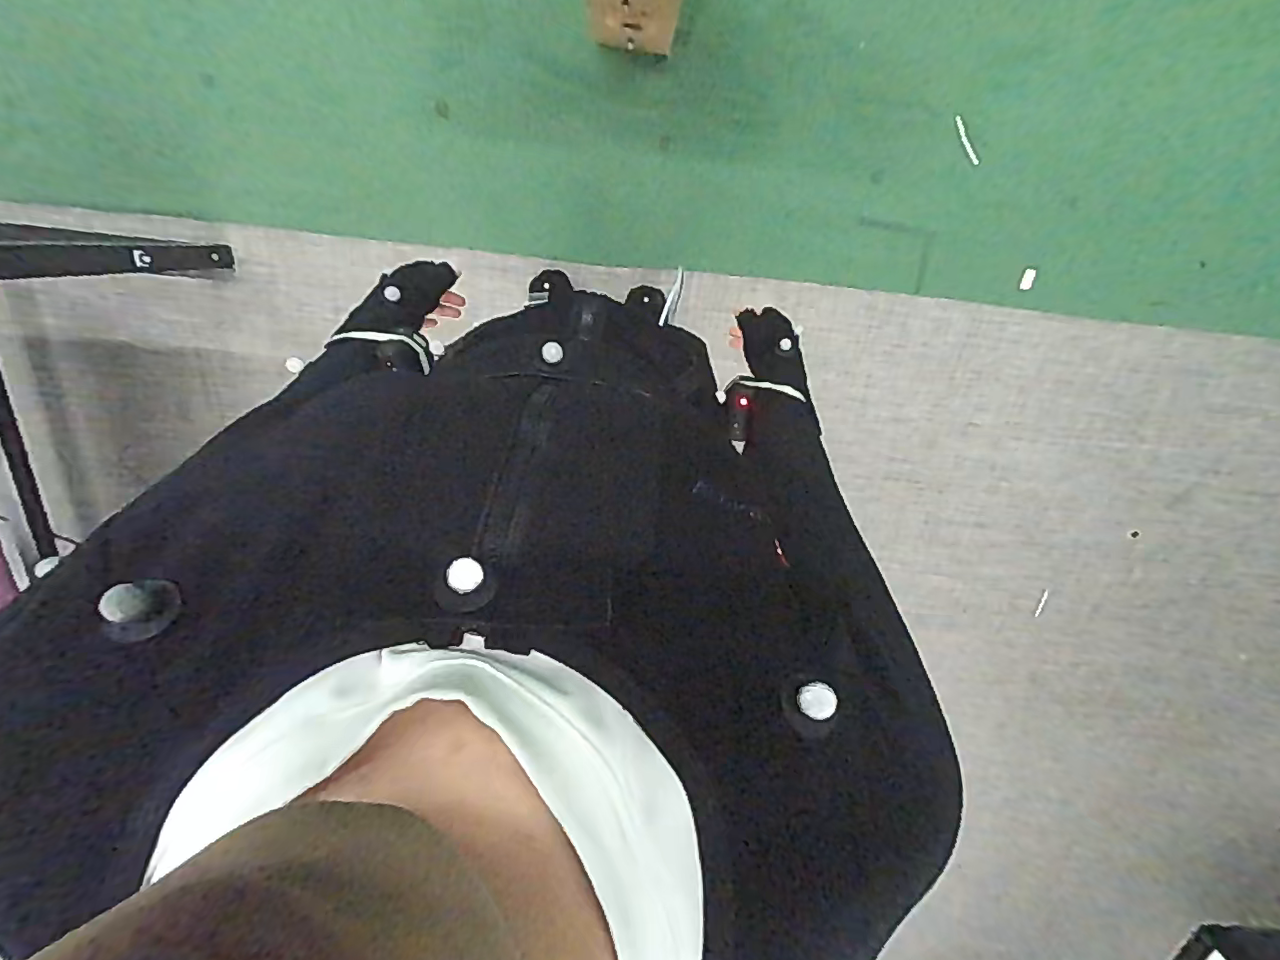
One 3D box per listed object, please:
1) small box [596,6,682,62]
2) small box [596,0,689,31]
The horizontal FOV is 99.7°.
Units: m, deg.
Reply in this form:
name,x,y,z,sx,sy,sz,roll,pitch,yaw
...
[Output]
name,x,y,z,sx,sy,sz,roll,pitch,yaw
small box,0.007,-0.963,1.057,0.168,0.176,0.179,8,112,-4
small box,0.009,-0.903,0.906,0.168,0.176,0.179,6,112,-4
